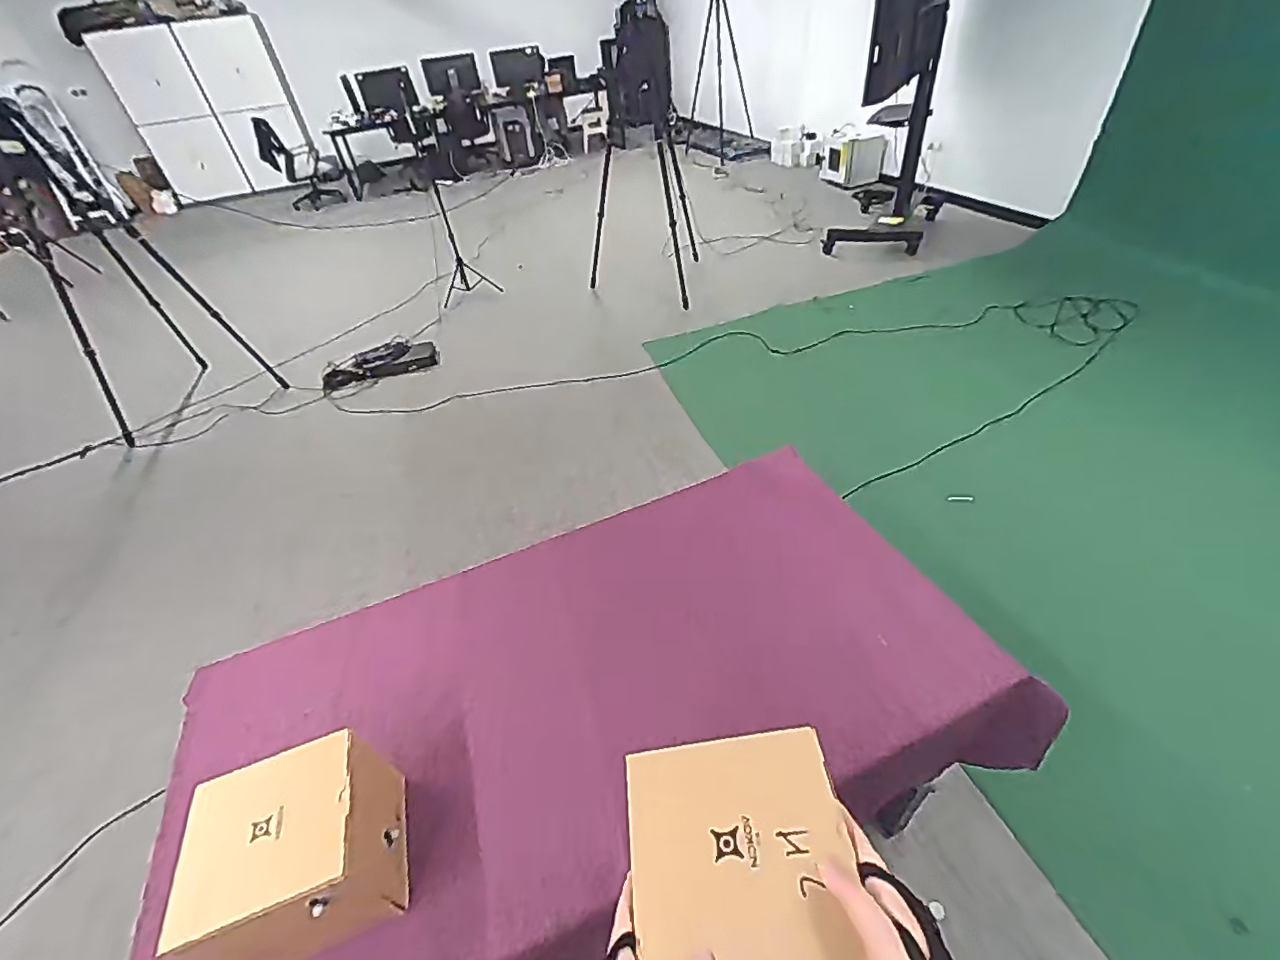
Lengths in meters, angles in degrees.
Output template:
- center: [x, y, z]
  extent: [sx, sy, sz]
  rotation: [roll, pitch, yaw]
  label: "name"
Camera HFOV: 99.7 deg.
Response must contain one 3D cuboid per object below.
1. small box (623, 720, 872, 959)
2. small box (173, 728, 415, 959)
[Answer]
- center: [0.089, 0.345, 0.487]
  extent: [0.179, 0.176, 0.168]
  rotation: [-11, 41, 5]
  label: "small box"
- center: [-0.395, 0.444, 0.654]
  extent: [0.179, 0.176, 0.168]
  rotation: [-19, 42, -12]
  label: "small box"
